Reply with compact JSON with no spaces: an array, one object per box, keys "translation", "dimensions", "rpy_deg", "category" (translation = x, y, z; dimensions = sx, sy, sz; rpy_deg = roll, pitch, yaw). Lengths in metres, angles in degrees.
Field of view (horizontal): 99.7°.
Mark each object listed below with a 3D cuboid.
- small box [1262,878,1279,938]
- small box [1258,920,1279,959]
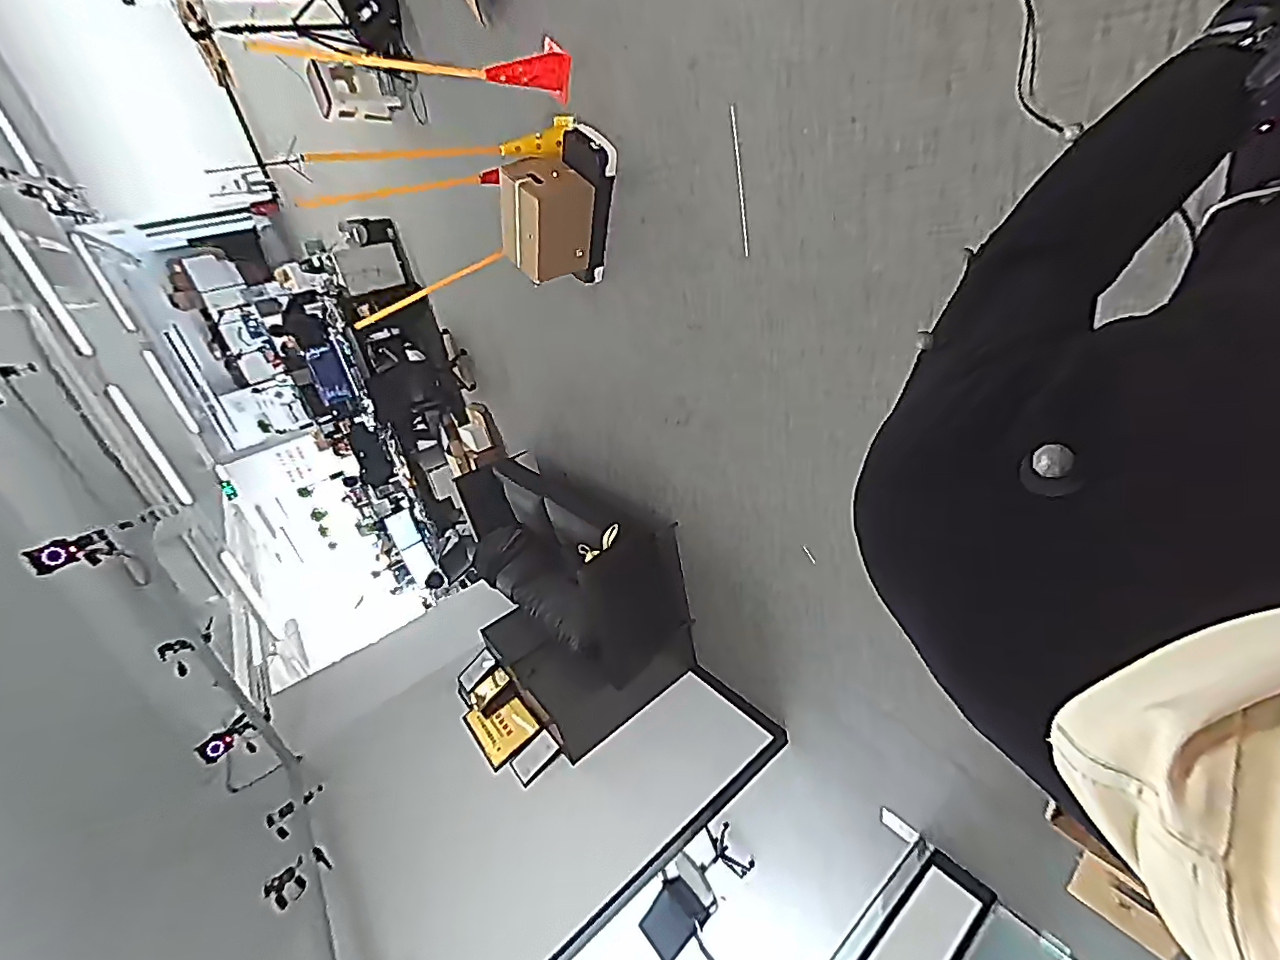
[{"translation":[1.294,0.796,0.972],"dimensions":[0.179,0.176,0.168],"rpy_deg":[27,136,50],"category":"small box"},{"translation":[1.165,0.863,0.895],"dimensions":[0.179,0.176,0.168],"rpy_deg":[24,134,50],"category":"small box"}]
